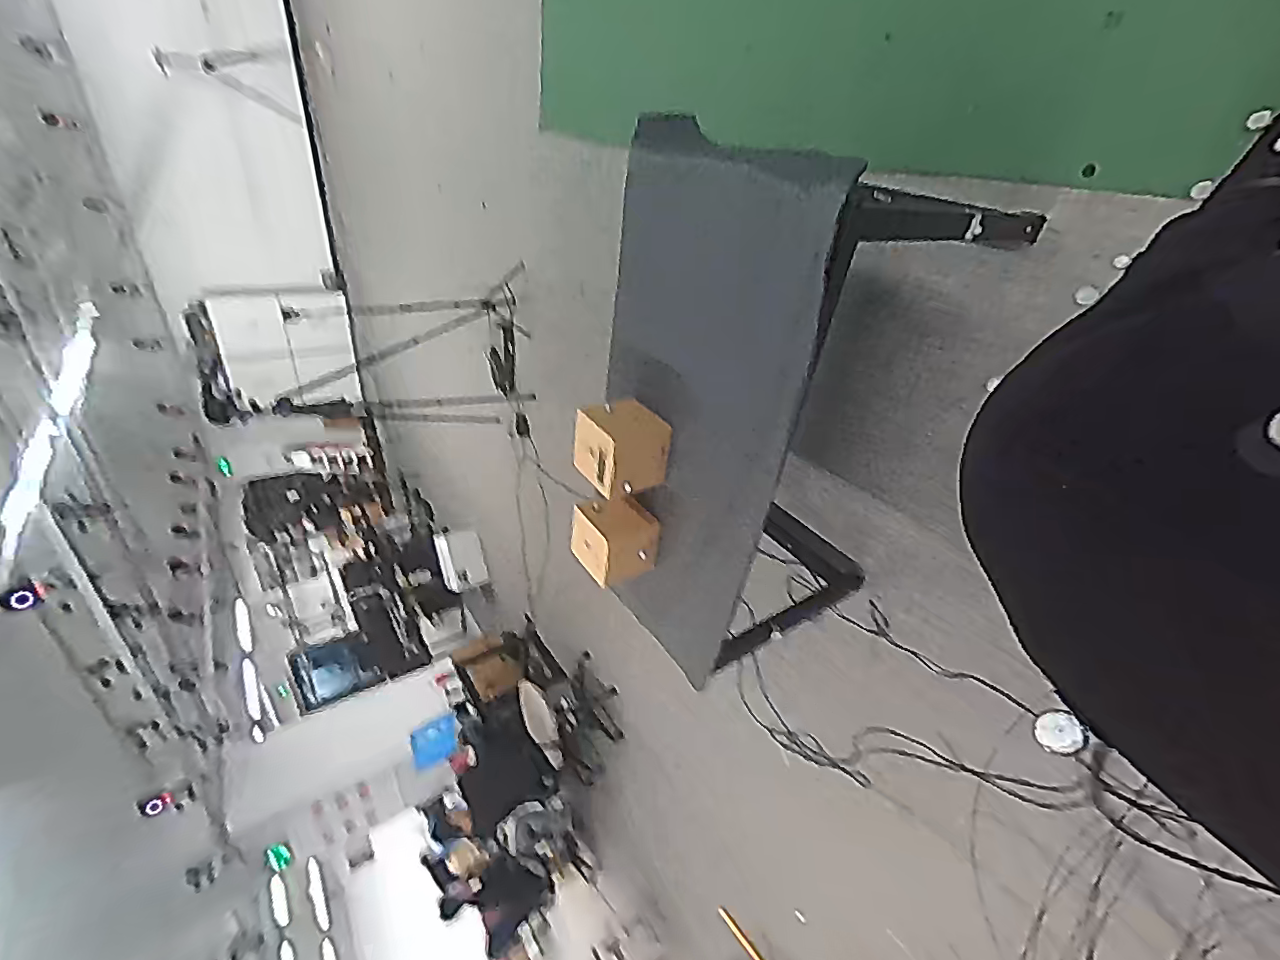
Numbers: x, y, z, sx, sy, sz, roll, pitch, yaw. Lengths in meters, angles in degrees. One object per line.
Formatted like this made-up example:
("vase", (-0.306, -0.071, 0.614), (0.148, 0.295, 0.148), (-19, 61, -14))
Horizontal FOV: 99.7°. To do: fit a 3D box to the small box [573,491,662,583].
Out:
("small box", (-0.065, 0.147, 1.484), (0.179, 0.176, 0.168), (41, 135, 40))
